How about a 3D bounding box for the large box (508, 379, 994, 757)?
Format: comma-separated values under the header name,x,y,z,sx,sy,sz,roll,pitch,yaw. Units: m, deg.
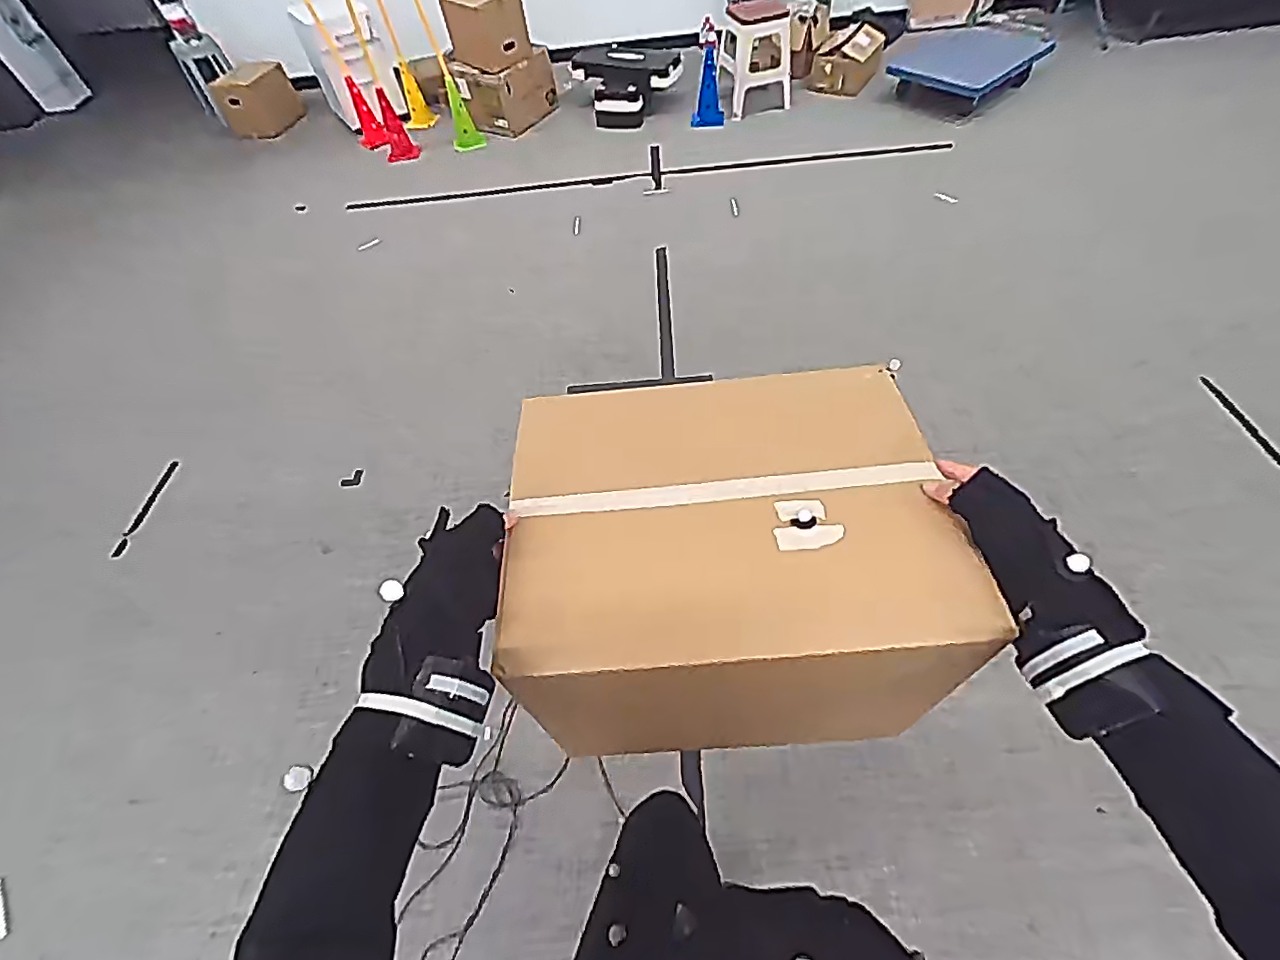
name,x,y,z,sx,sy,sz,roll,pitch,yaw
large box,0.090,0.114,0.642,0.408,0.320,0.320,-5,52,2
